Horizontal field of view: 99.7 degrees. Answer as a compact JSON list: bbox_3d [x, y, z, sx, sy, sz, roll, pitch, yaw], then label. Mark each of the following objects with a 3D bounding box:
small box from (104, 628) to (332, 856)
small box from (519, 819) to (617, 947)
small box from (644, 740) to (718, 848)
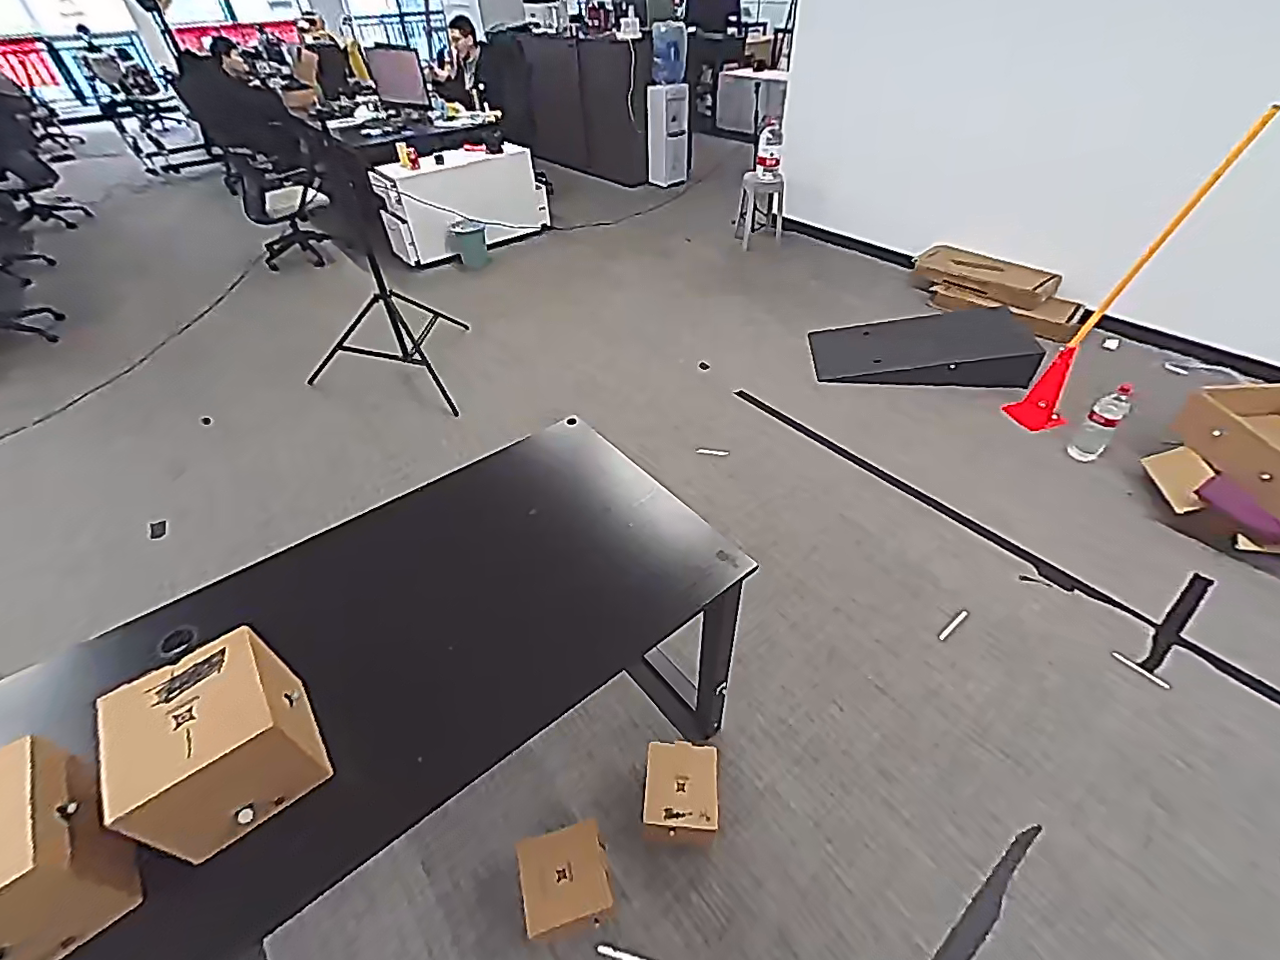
[{"bbox_3d":[-0.535,0.336,0.698,0.168,0.176,0.179,-30,50,-26],"label":"small box"},{"bbox_3d":[-0.153,0.874,1.174,0.179,0.176,0.168,-14,44,-11],"label":"small box"},{"bbox_3d":[0.098,0.749,1.291,0.168,0.176,0.179,2,44,5],"label":"small box"}]
